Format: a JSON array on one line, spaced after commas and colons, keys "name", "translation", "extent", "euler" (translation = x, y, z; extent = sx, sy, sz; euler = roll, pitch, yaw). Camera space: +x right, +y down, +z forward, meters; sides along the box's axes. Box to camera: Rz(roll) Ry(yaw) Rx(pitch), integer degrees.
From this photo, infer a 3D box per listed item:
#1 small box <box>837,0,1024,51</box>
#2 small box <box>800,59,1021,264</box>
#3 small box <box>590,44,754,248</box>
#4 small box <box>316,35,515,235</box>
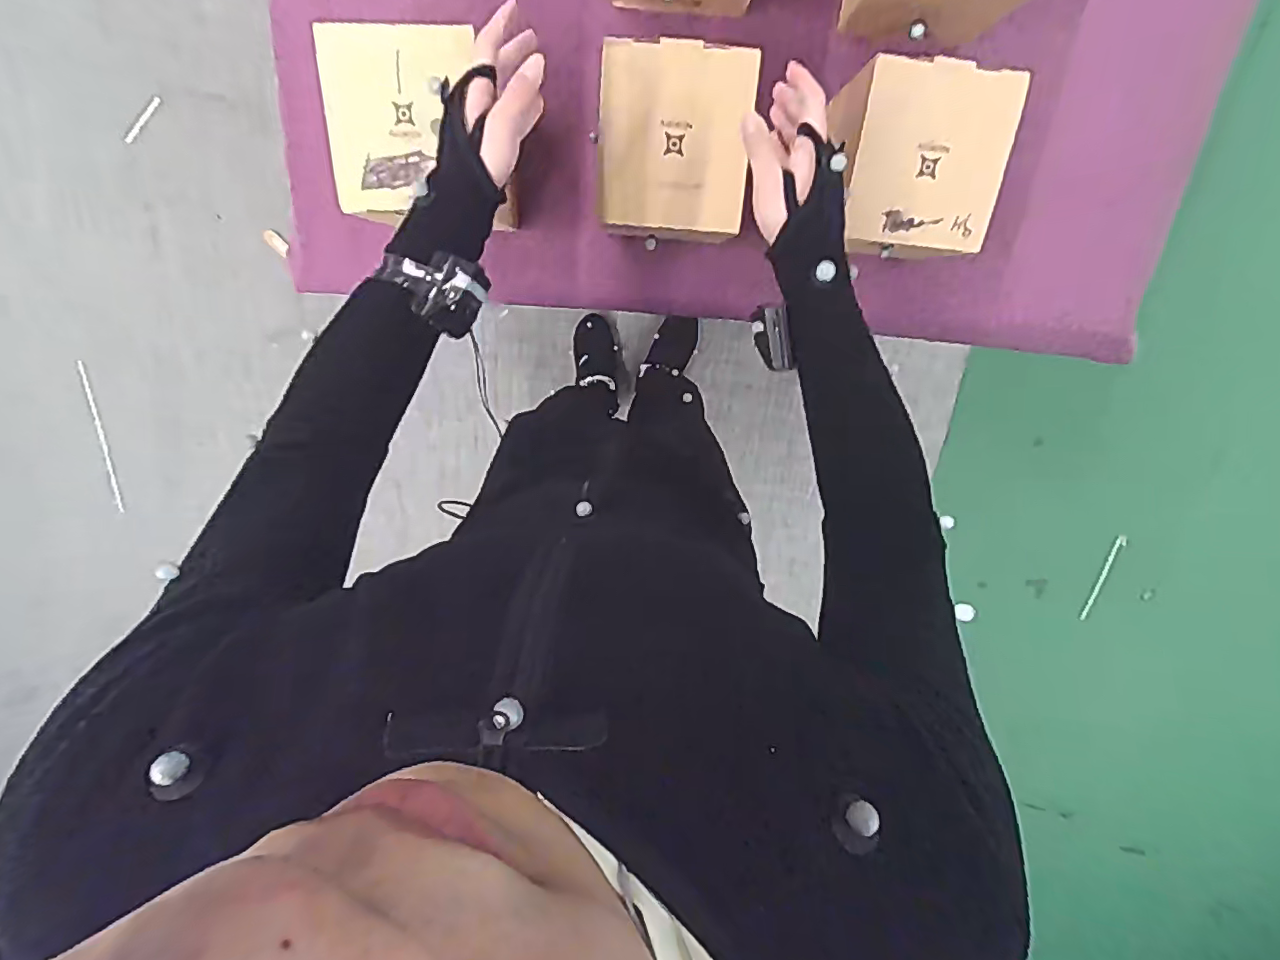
[{"name": "small box", "translation": [0.327, -0.602, 0.575], "extent": [0.168, 0.176, 0.179], "euler": [6, 111, 0]}, {"name": "small box", "translation": [0.308, -0.370, 0.661], "extent": [0.168, 0.176, 0.179], "euler": [6, 109, -1]}, {"name": "small box", "translation": [0.032, -0.390, 0.662], "extent": [0.168, 0.176, 0.179], "euler": [5, 111, 0]}, {"name": "small box", "translation": [-0.254, -0.402, 0.661], "extent": [0.168, 0.176, 0.179], "euler": [1, 108, 0]}]
